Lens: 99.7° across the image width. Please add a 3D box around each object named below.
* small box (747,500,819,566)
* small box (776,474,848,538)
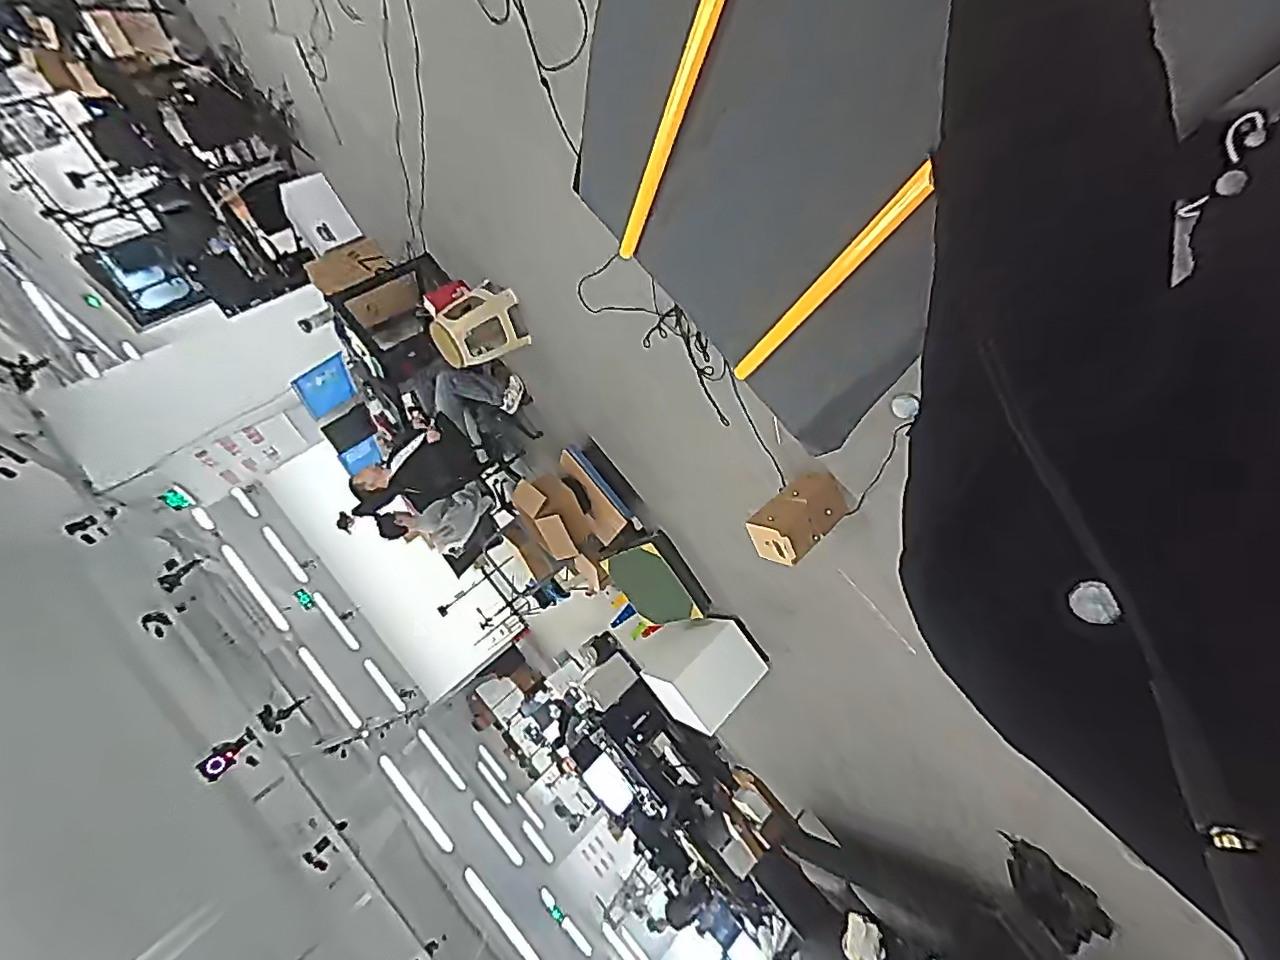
[{"bbox_3d":[0.537,0.189,2.002,0.179,0.176,0.168,10,131,58],"label":"small box"},{"bbox_3d":[0.660,0.095,2.060,0.168,0.176,0.179,2,125,60],"label":"small box"}]
